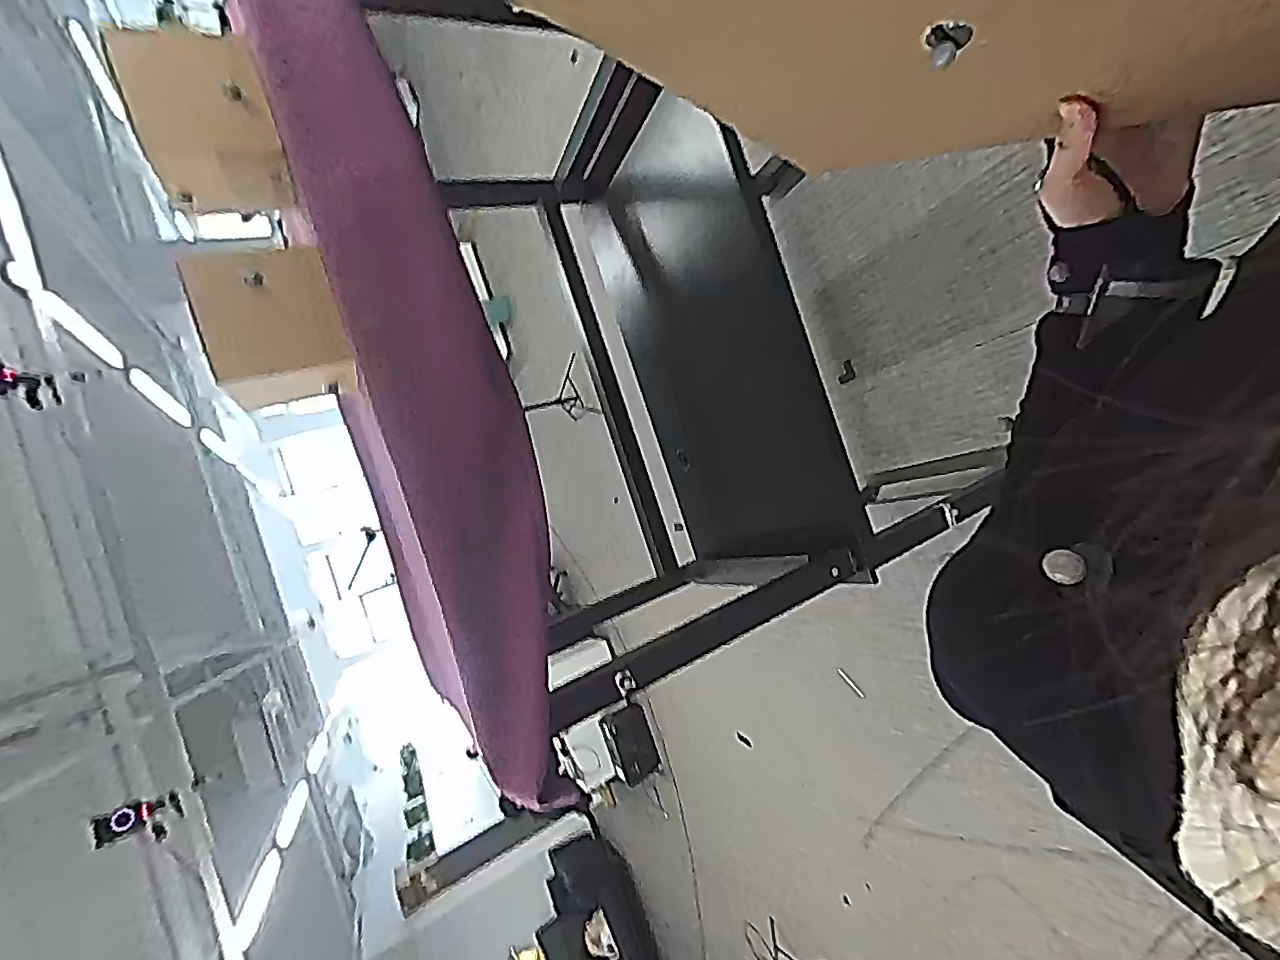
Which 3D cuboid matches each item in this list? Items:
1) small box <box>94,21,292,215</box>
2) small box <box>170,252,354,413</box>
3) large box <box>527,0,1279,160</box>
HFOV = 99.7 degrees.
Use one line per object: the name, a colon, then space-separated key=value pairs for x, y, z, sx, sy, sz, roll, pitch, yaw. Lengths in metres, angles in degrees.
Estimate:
small box: x=-0.638 y=-0.517 z=0.798 sx=0.168 sy=0.176 sz=0.179 roll=-10 pitch=97 yaw=64
small box: x=-0.530 y=-0.213 z=0.785 sx=0.168 sy=0.176 sz=0.179 roll=-16 pitch=92 yaw=64
large box: x=0.185 y=-0.380 z=0.231 sx=0.408 sy=0.320 sz=0.320 roll=31 pitch=112 yaw=51
